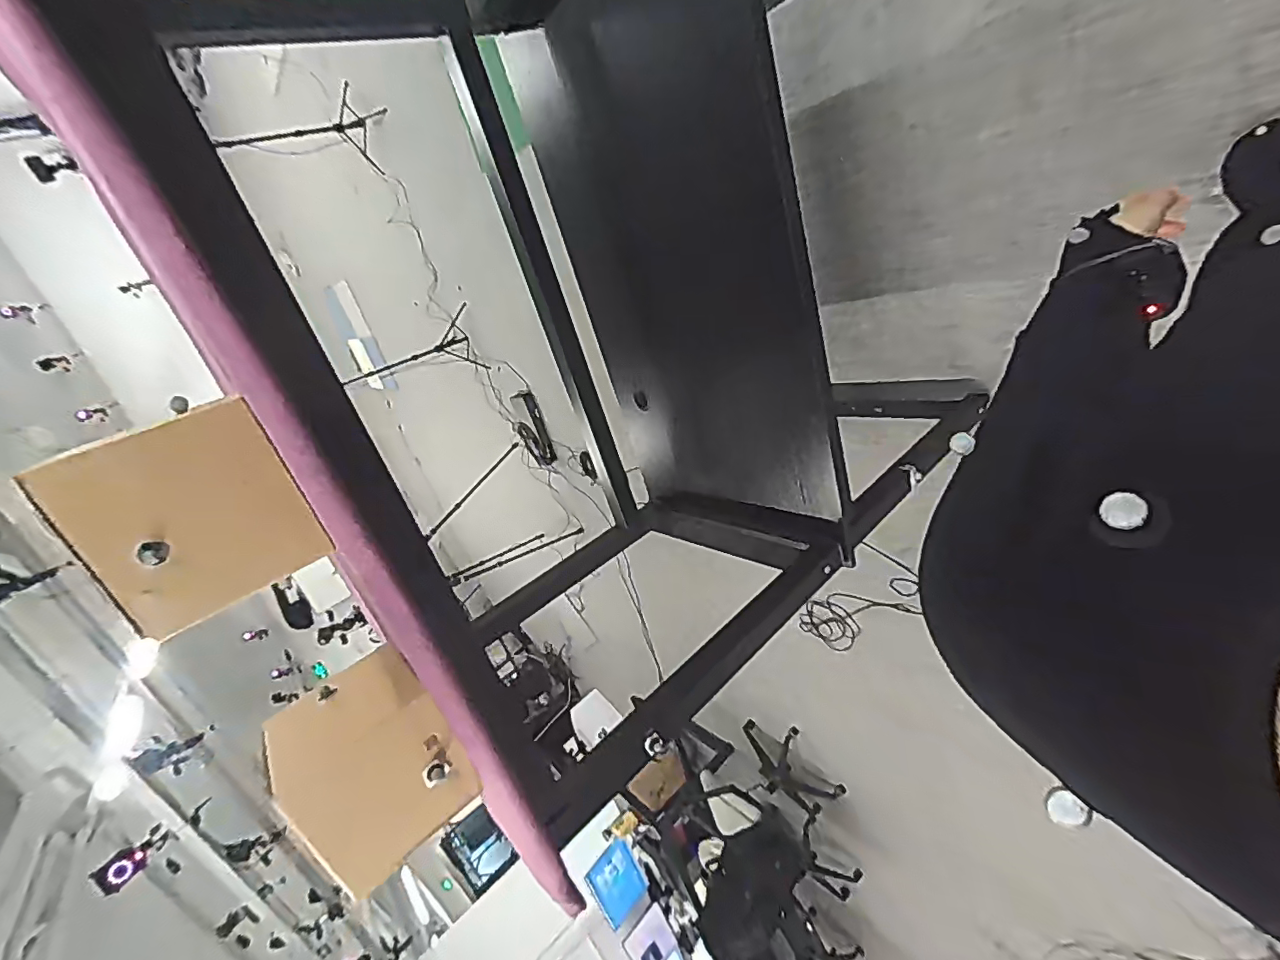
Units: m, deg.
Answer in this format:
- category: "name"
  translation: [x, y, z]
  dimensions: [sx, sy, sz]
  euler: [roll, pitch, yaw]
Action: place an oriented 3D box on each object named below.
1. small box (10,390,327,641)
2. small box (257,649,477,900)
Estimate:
- category: "small box"
  translation: [-0.451, 0.022, 0.553]
  dimensions: [0.168, 0.176, 0.179]
  euler: [13, 127, 52]
- category: "small box"
  translation: [-0.325, 0.333, 0.655]
  dimensions: [0.179, 0.176, 0.168]
  euler: [5, 123, 52]
